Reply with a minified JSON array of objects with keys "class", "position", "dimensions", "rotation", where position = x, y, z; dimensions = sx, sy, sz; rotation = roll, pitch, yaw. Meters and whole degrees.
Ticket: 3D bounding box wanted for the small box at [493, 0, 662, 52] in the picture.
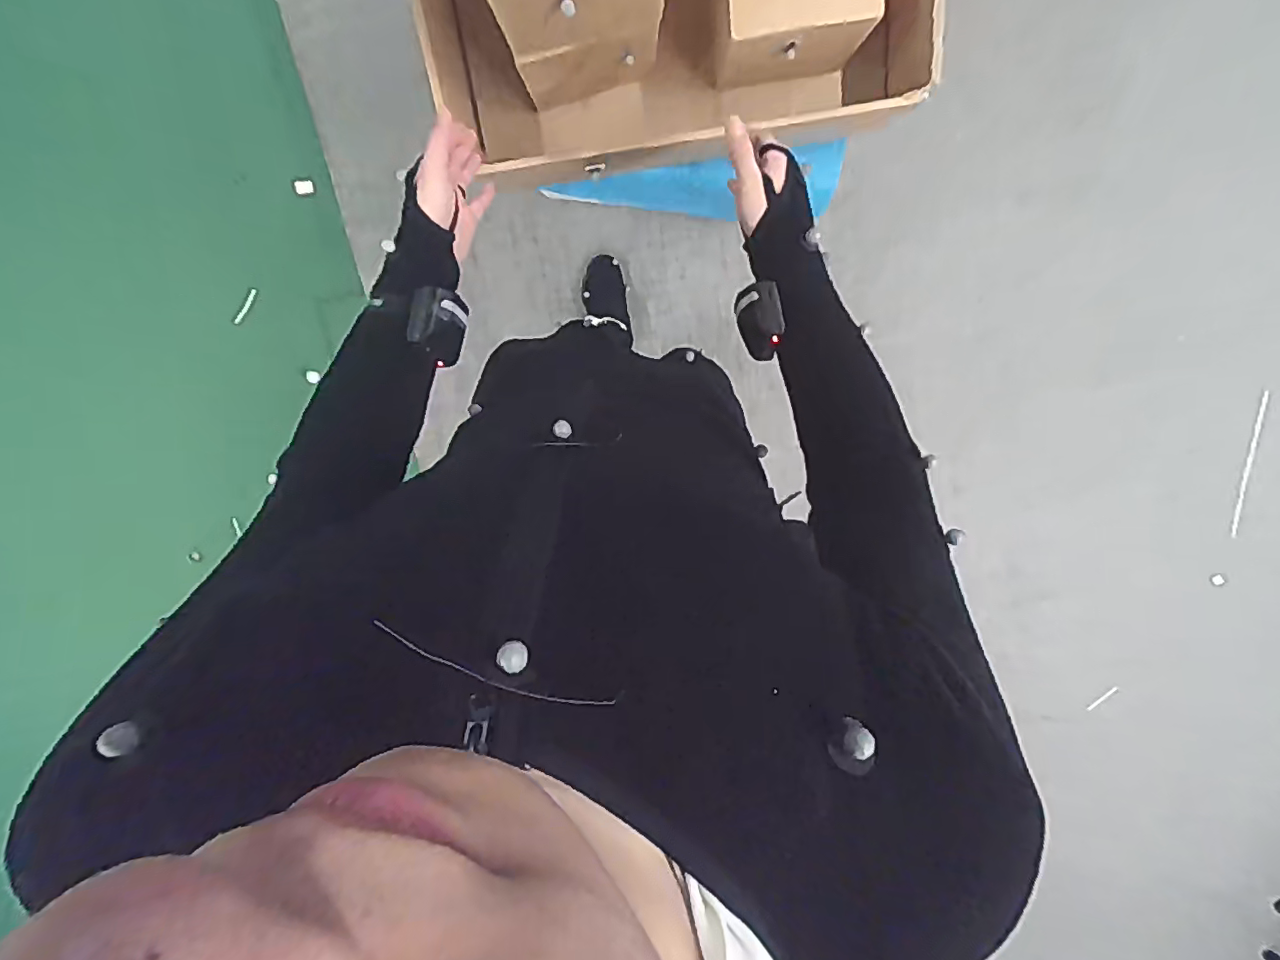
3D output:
[{"class":"small box","position":[-0.076,-0.550,0.513],"dimensions":[0.179,0.176,0.168],"rotation":[-13,110,4]}]
